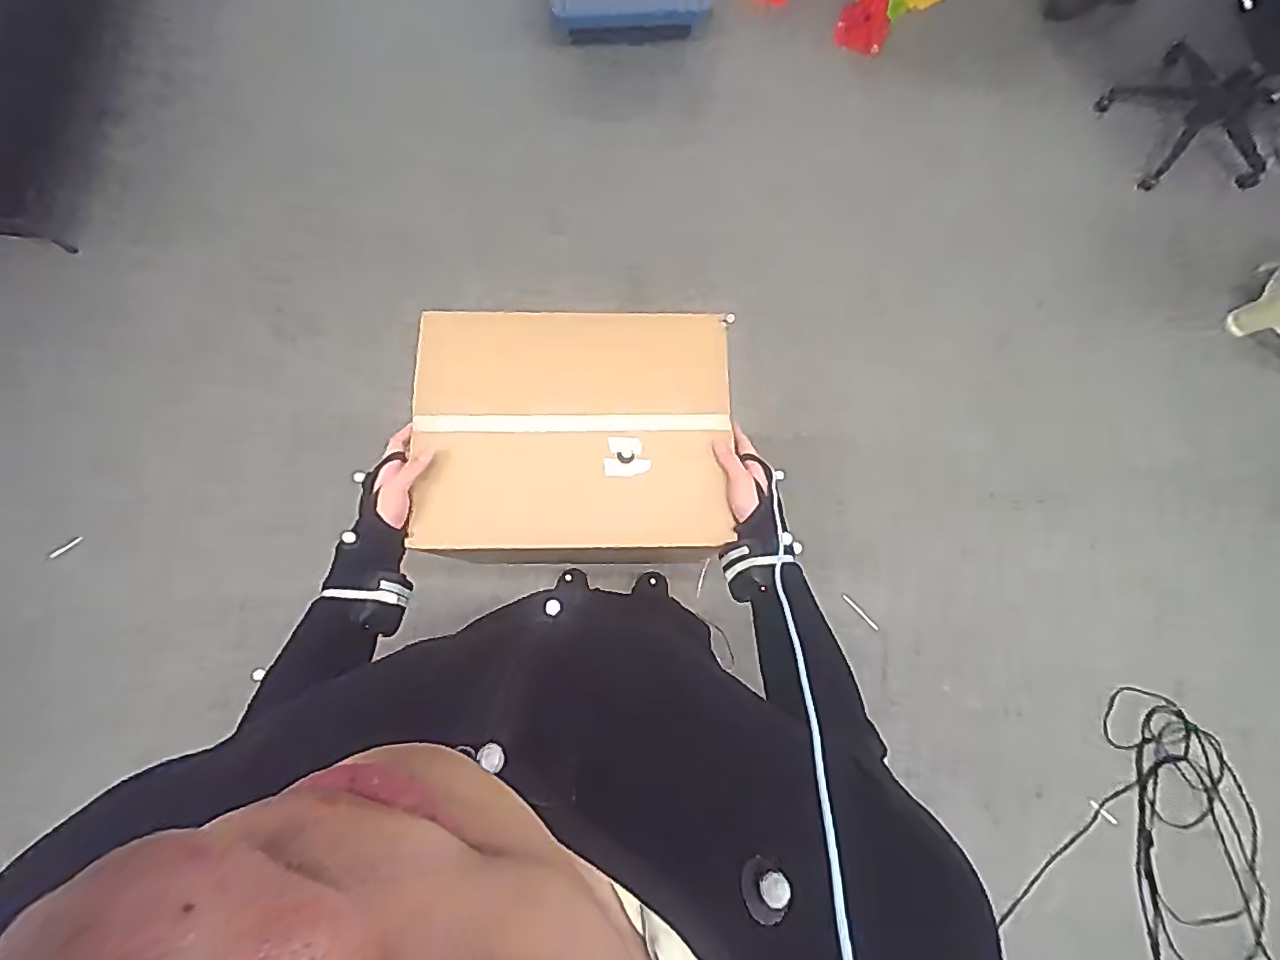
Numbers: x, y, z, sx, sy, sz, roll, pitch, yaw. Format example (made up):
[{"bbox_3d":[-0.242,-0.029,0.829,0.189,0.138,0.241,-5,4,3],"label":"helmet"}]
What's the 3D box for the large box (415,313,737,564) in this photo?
[{"bbox_3d":[-0.089,-0.042,0.841,0.408,0.320,0.320,0,78,-3],"label":"large box"}]
